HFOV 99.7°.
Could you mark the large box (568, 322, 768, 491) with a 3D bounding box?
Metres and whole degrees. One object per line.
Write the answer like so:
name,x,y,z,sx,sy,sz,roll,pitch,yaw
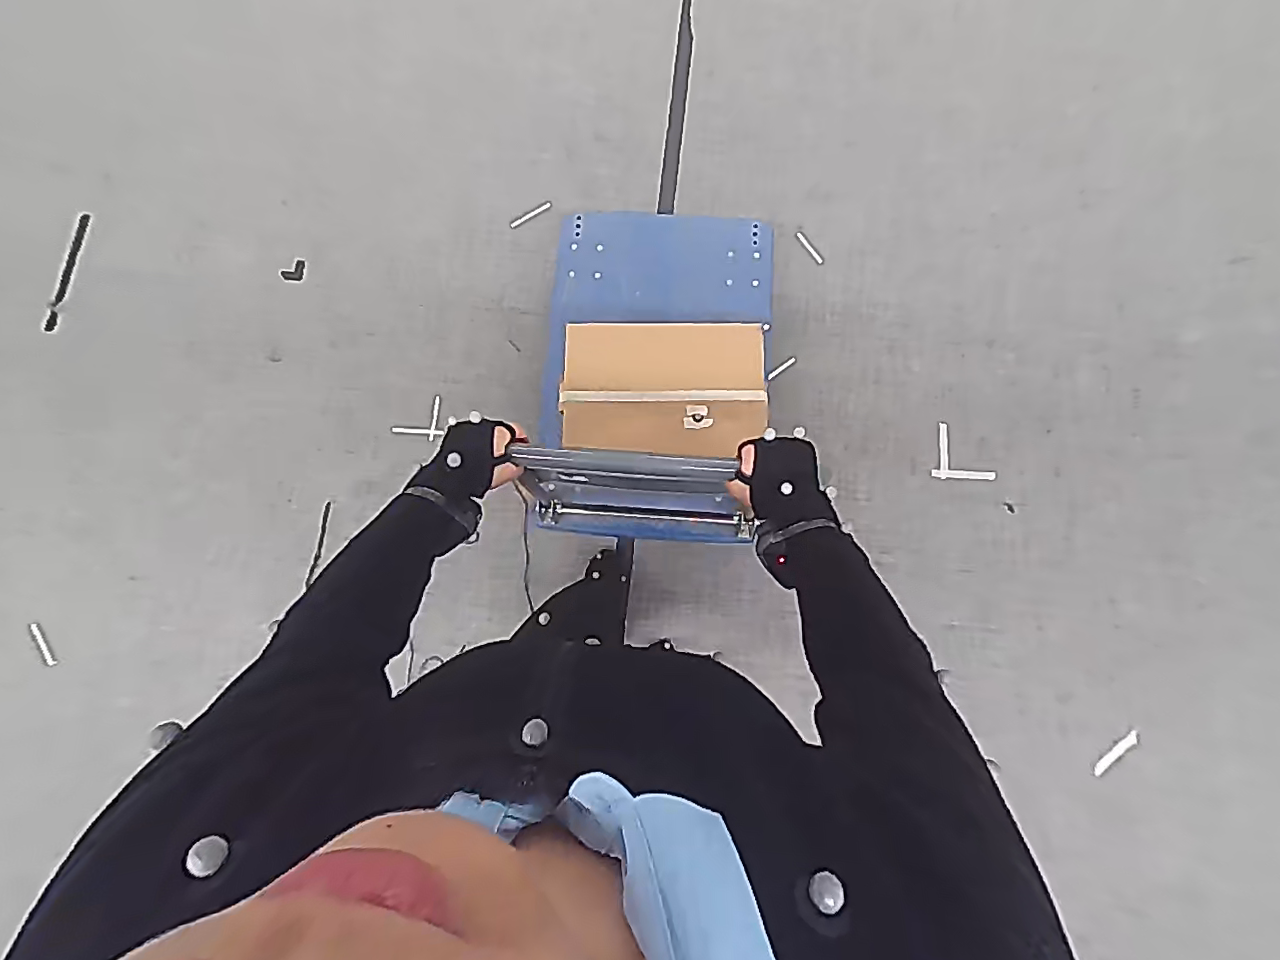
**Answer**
large box,0.053,-0.150,1.240,0.408,0.320,0.320,0,81,1
